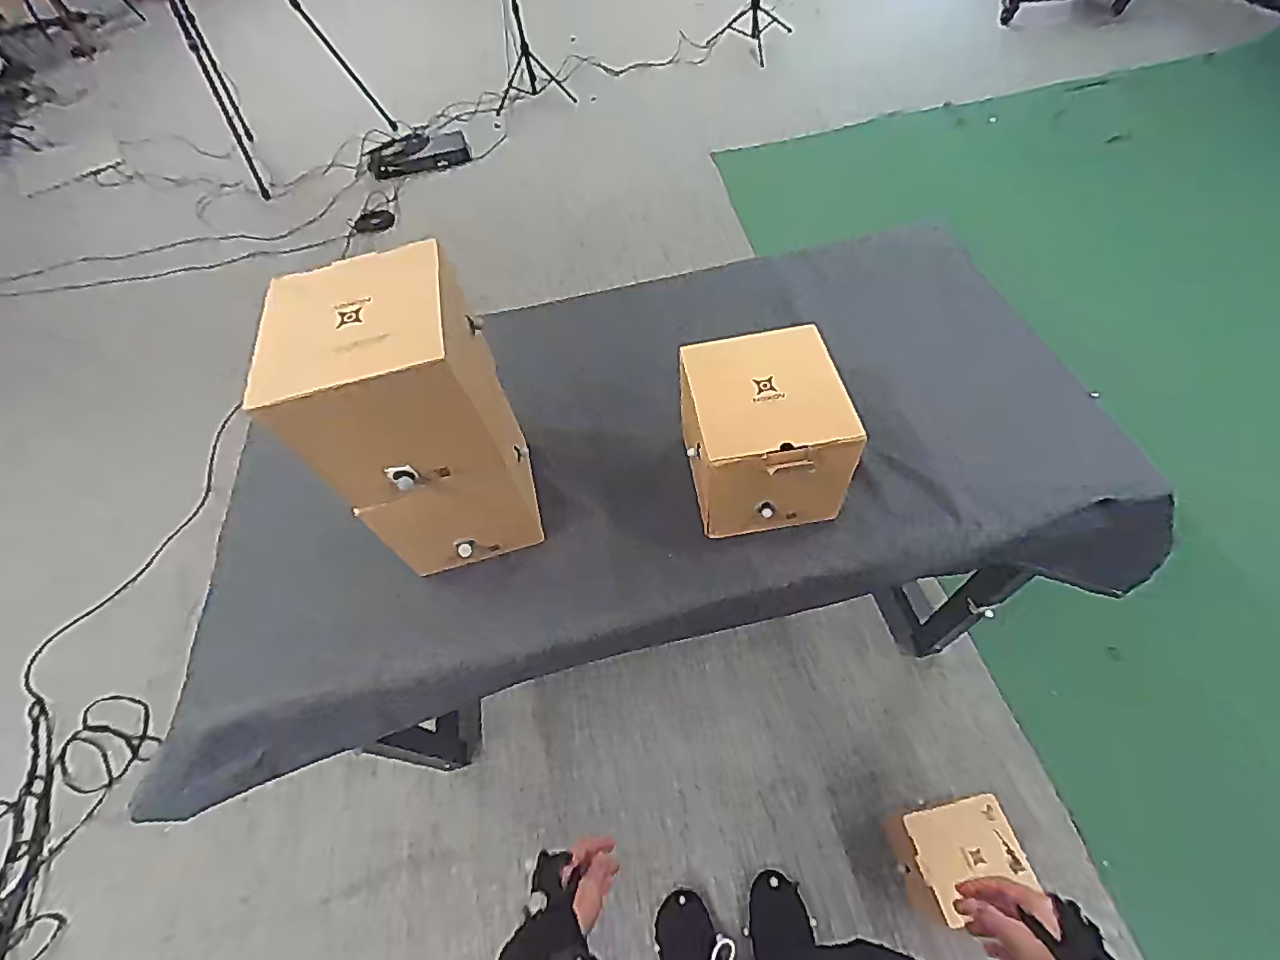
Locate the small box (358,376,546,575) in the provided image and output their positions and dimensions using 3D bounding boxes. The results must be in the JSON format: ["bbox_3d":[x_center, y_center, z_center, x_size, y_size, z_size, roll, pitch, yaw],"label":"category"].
[{"bbox_3d":[-0.227,-0.008,0.679,0.168,0.176,0.179,-16,56,-3],"label":"small box"}]

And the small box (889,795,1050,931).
[{"bbox_3d":[0.580,0.696,0.988,0.179,0.176,0.168,-14,55,-2],"label":"small box"}]

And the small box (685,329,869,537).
[{"bbox_3d":[0.150,-0.053,0.664,0.168,0.176,0.179,-10,56,0],"label":"small box"}]

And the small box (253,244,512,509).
[{"bbox_3d":[-0.239,-0.099,0.544,0.168,0.176,0.179,-16,57,-2],"label":"small box"}]
